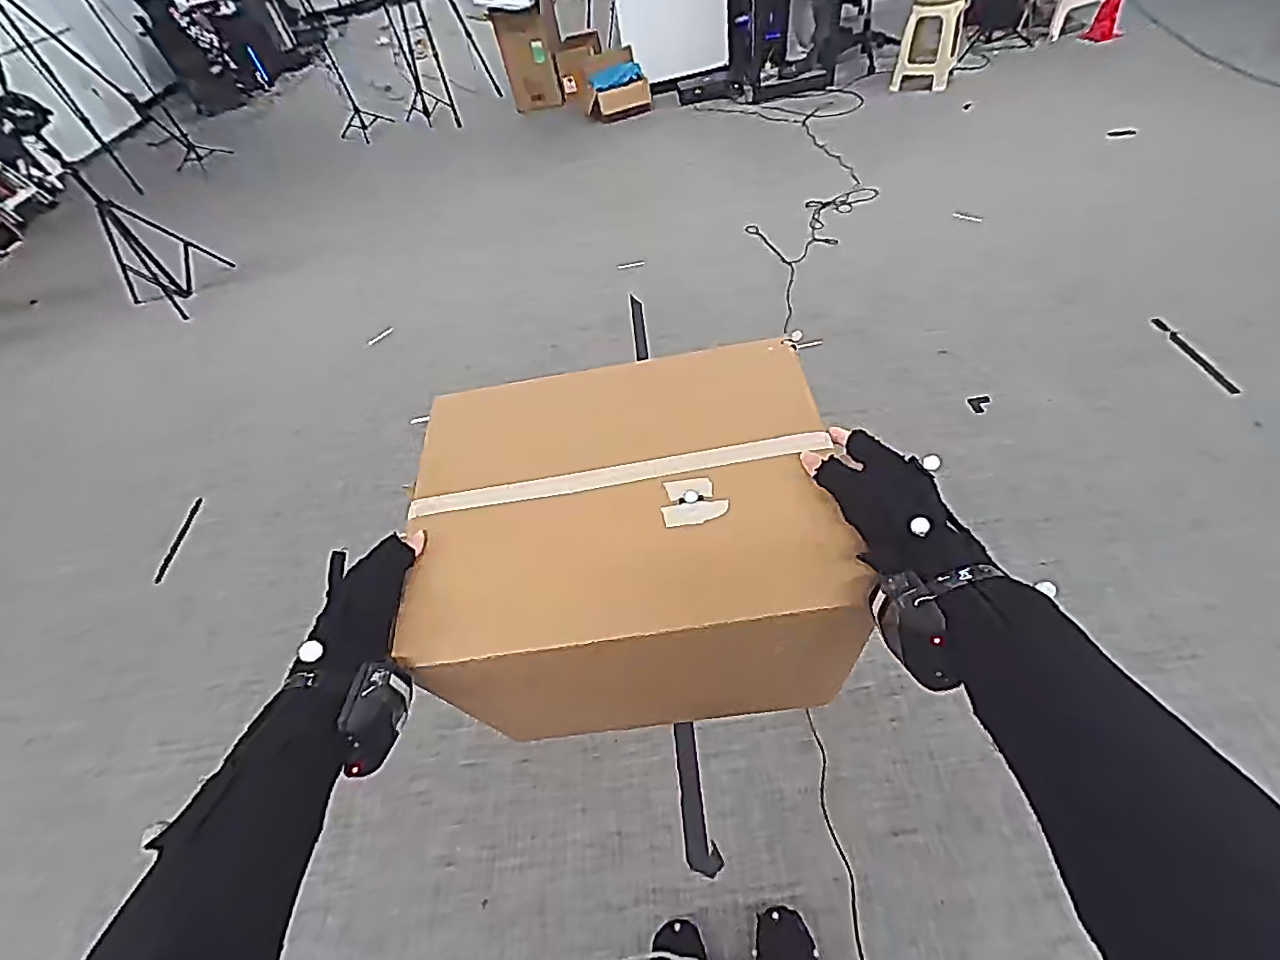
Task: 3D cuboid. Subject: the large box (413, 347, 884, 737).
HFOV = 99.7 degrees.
[{"bbox_3d":[0.007,0.089,0.649,0.408,0.320,0.320,-9,54,3],"label":"large box"}]
